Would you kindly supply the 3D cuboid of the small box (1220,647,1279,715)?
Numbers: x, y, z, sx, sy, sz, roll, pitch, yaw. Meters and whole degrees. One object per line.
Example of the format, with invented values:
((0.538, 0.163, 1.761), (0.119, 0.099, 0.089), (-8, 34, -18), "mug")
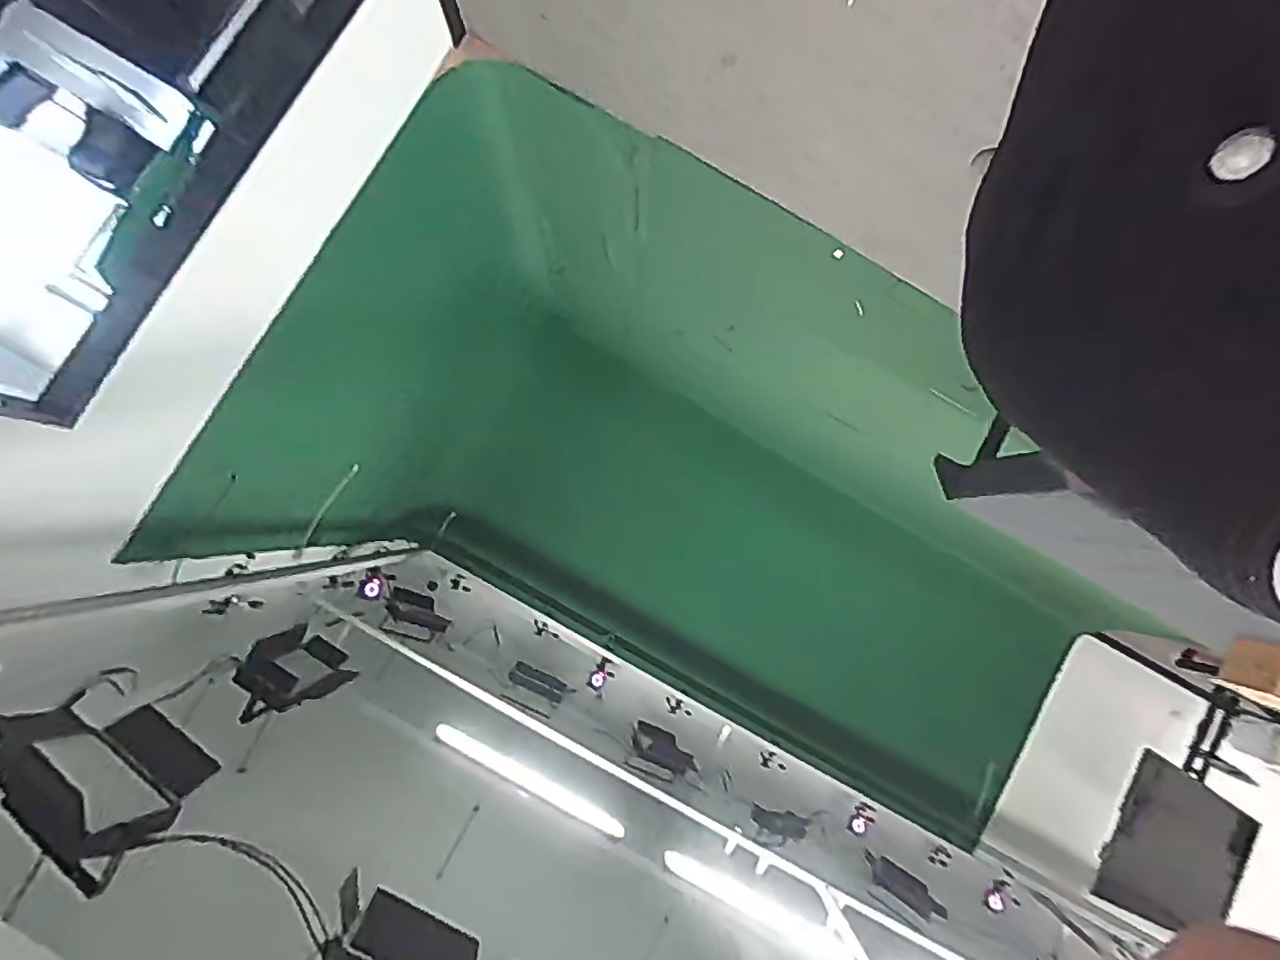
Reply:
((2.175, 0.695, 1.847), (0.168, 0.176, 0.179), (32, 174, 1), "small box")
